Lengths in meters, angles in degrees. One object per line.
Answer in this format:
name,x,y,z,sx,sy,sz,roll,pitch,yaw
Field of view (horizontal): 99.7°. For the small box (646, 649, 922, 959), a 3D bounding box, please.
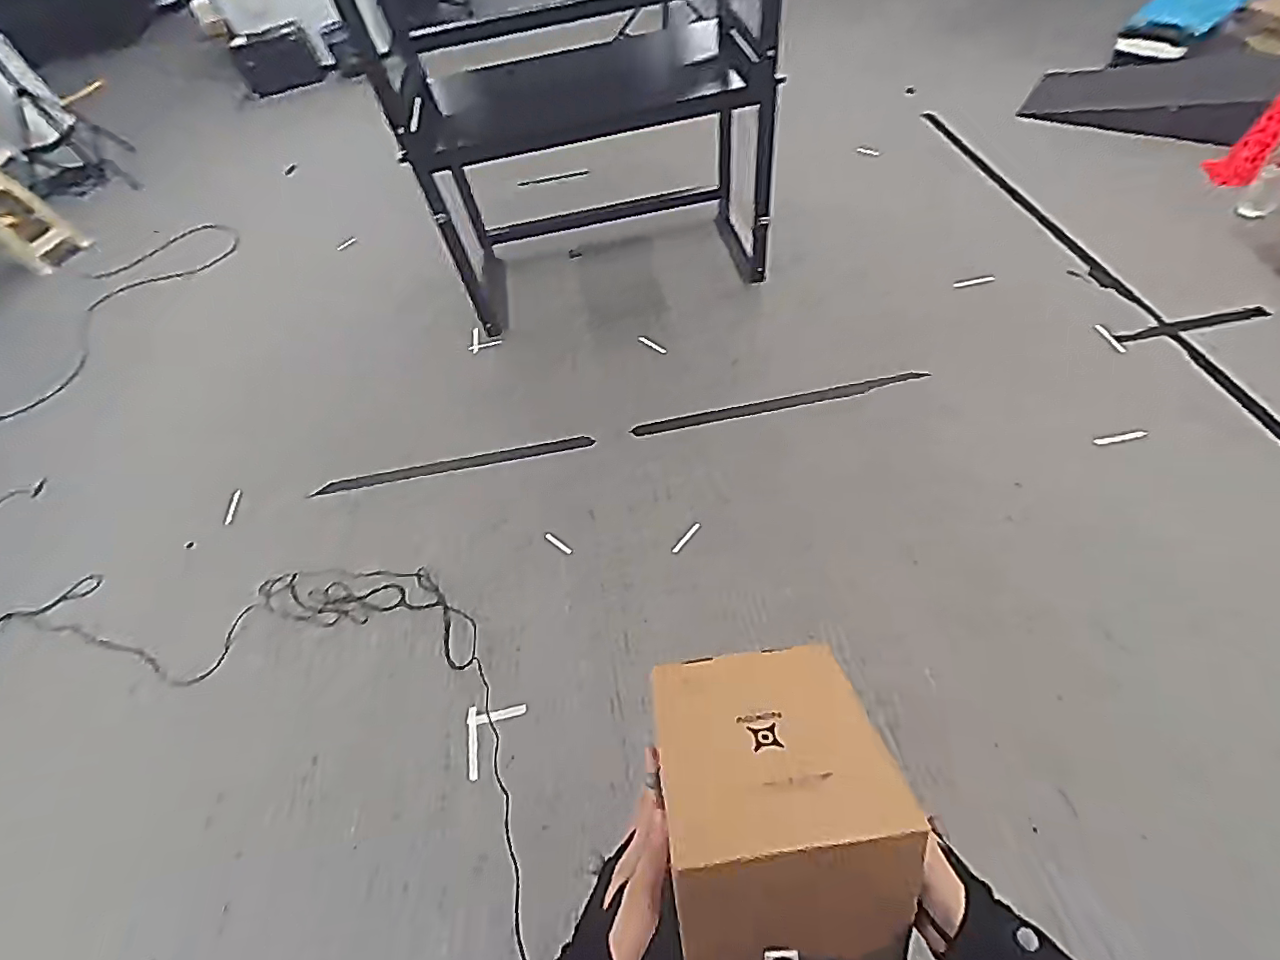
small box,0.100,0.274,0.448,0.168,0.176,0.179,-9,24,-2
